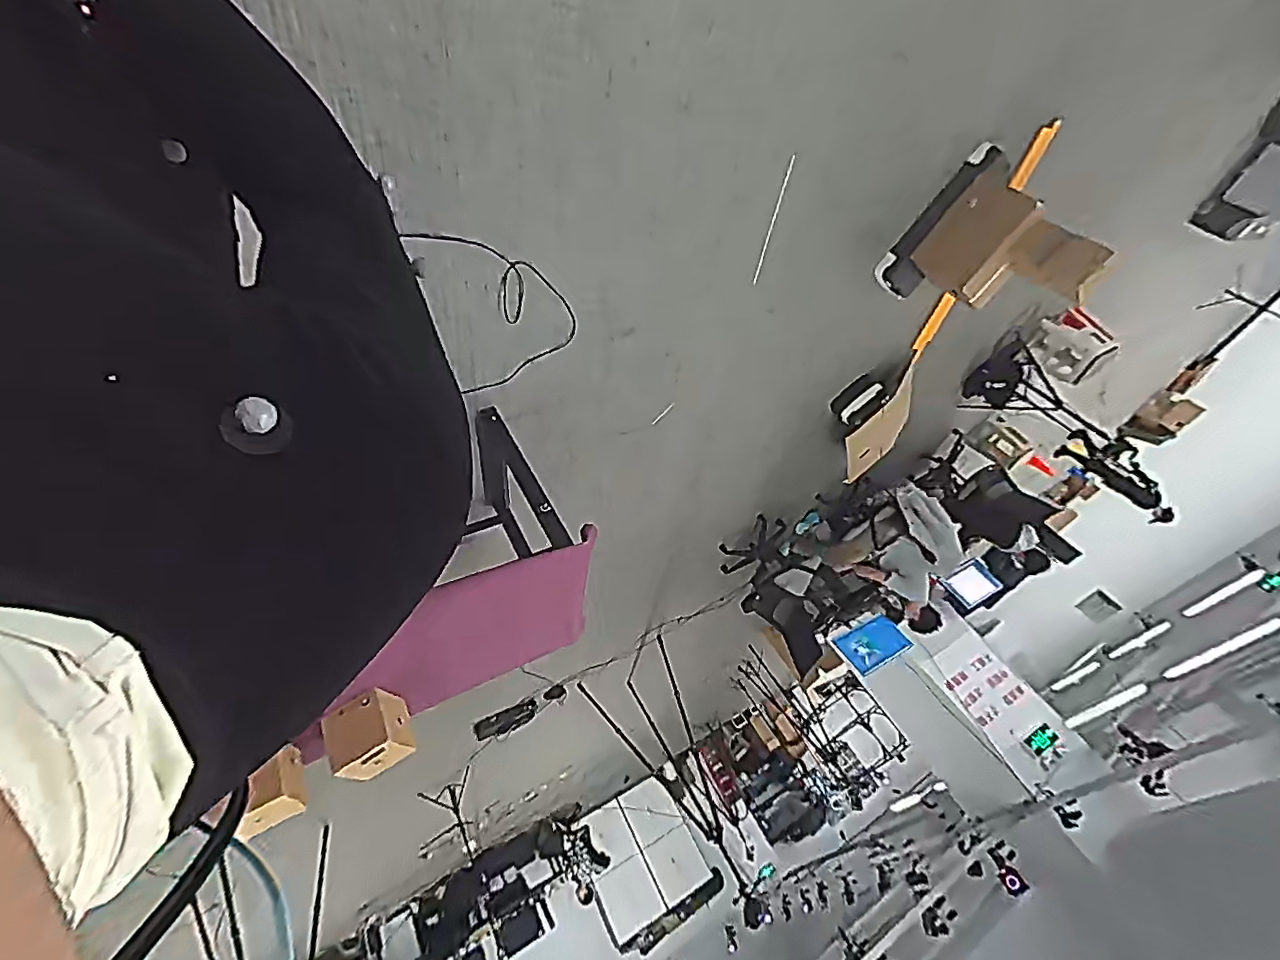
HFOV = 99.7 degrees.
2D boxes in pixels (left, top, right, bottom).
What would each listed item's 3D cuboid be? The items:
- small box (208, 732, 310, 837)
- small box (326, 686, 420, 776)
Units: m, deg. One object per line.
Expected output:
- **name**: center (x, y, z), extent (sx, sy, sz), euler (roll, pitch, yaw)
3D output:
- **small box**: center (-1.029, 0.820, 1.461), extent (0.179, 0.176, 0.168), euler (-22, 145, -22)
- **small box**: center (-0.777, 0.726, 1.569), extent (0.168, 0.176, 0.179), euler (-29, 148, -10)
